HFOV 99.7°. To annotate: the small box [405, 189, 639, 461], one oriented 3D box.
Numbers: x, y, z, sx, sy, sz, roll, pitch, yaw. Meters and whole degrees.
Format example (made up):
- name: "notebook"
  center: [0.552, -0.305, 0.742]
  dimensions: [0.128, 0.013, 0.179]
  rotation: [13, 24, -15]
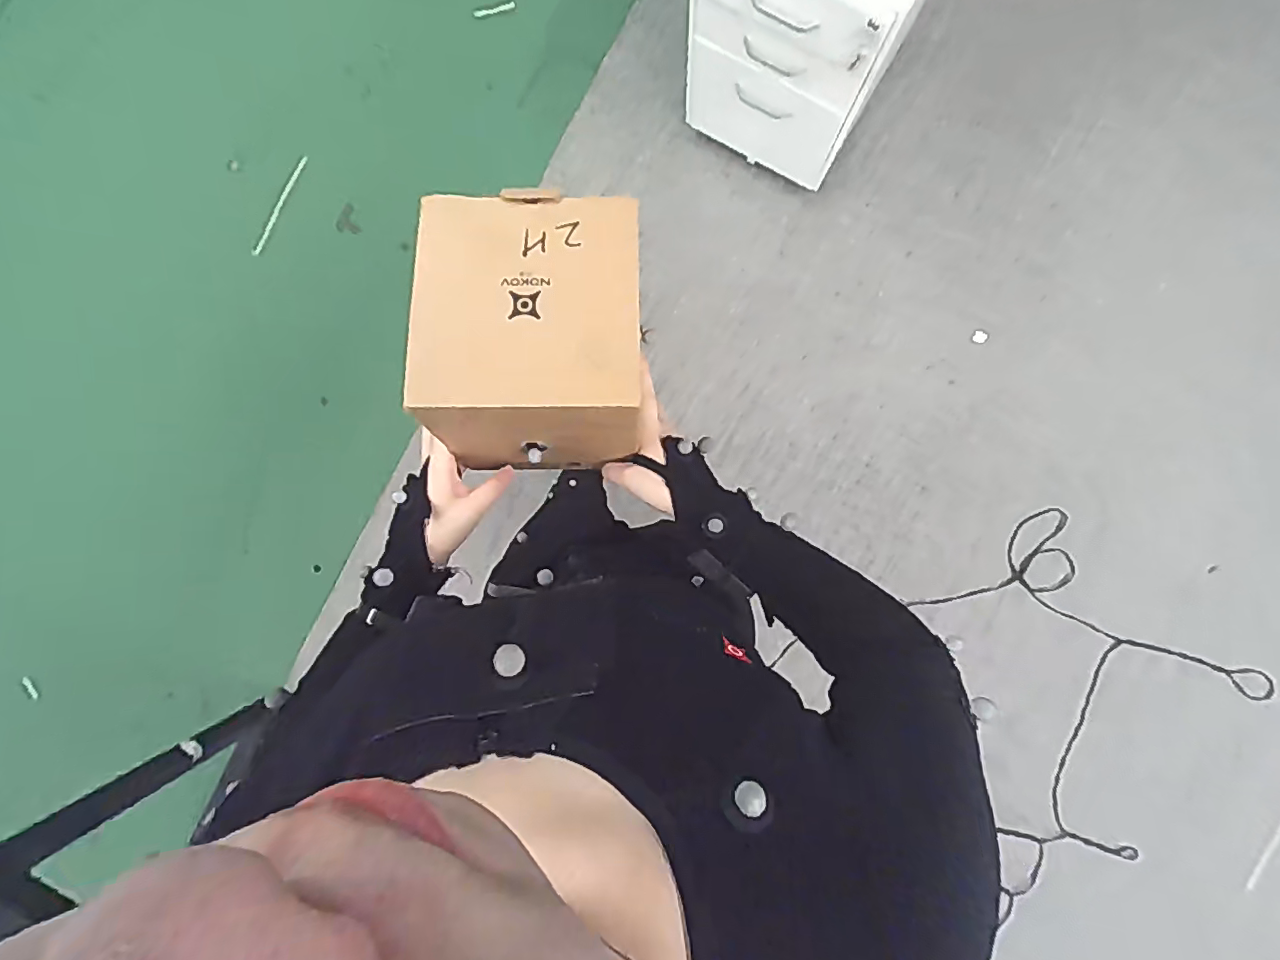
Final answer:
- name: "small box"
  center: [-0.085, -0.119, 0.473]
  dimensions: [0.168, 0.176, 0.179]
  rotation: [0, 76, -3]
